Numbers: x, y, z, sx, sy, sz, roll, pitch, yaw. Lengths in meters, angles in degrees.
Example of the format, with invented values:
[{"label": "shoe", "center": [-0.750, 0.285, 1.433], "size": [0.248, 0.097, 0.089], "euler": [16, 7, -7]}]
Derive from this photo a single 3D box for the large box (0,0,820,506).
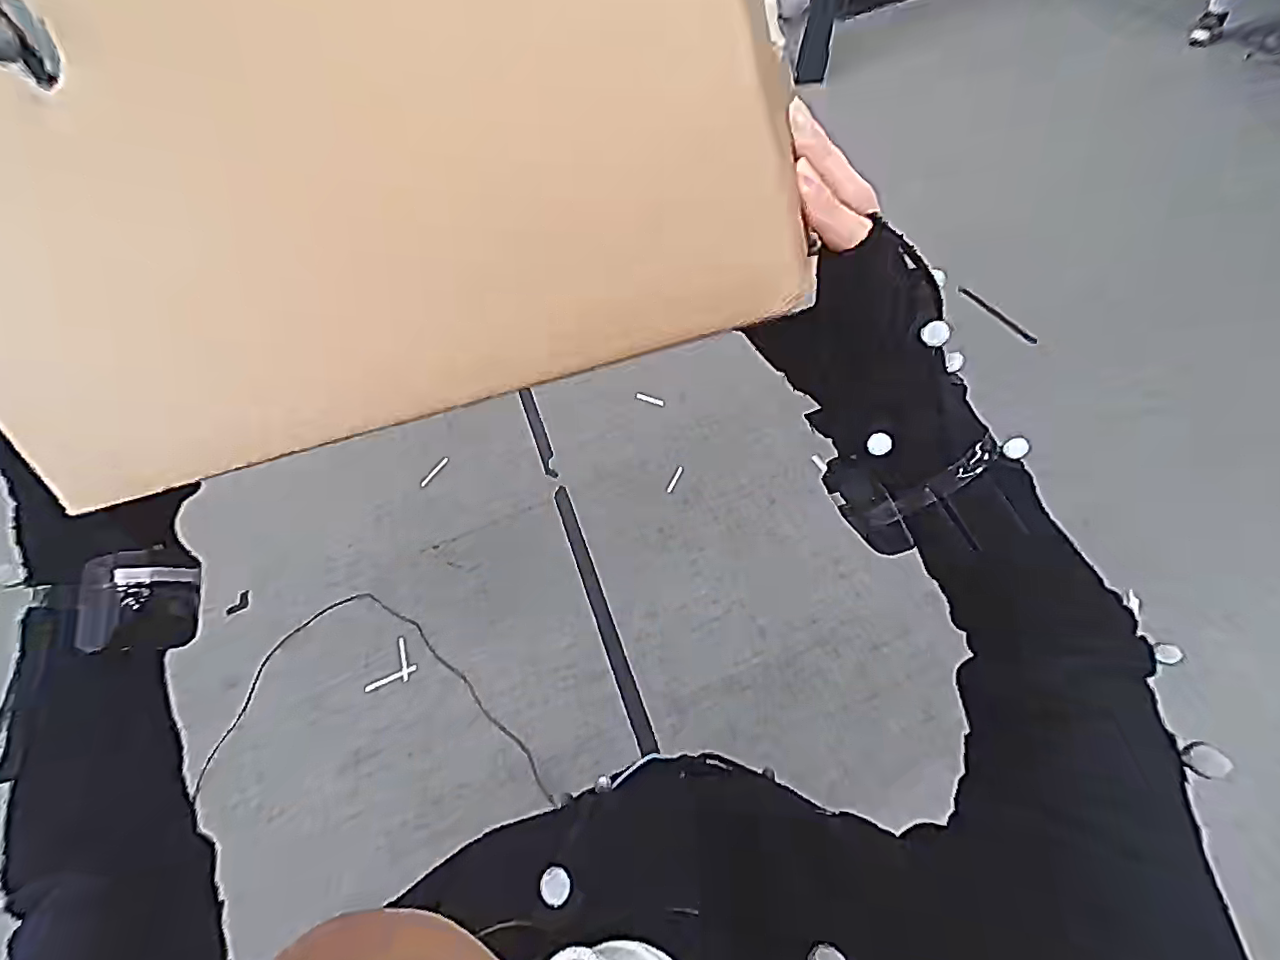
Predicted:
[{"label": "large box", "center": [-0.135, -0.216, 0.311], "size": [0.408, 0.320, 0.320], "euler": [-11, 26, 27]}]
